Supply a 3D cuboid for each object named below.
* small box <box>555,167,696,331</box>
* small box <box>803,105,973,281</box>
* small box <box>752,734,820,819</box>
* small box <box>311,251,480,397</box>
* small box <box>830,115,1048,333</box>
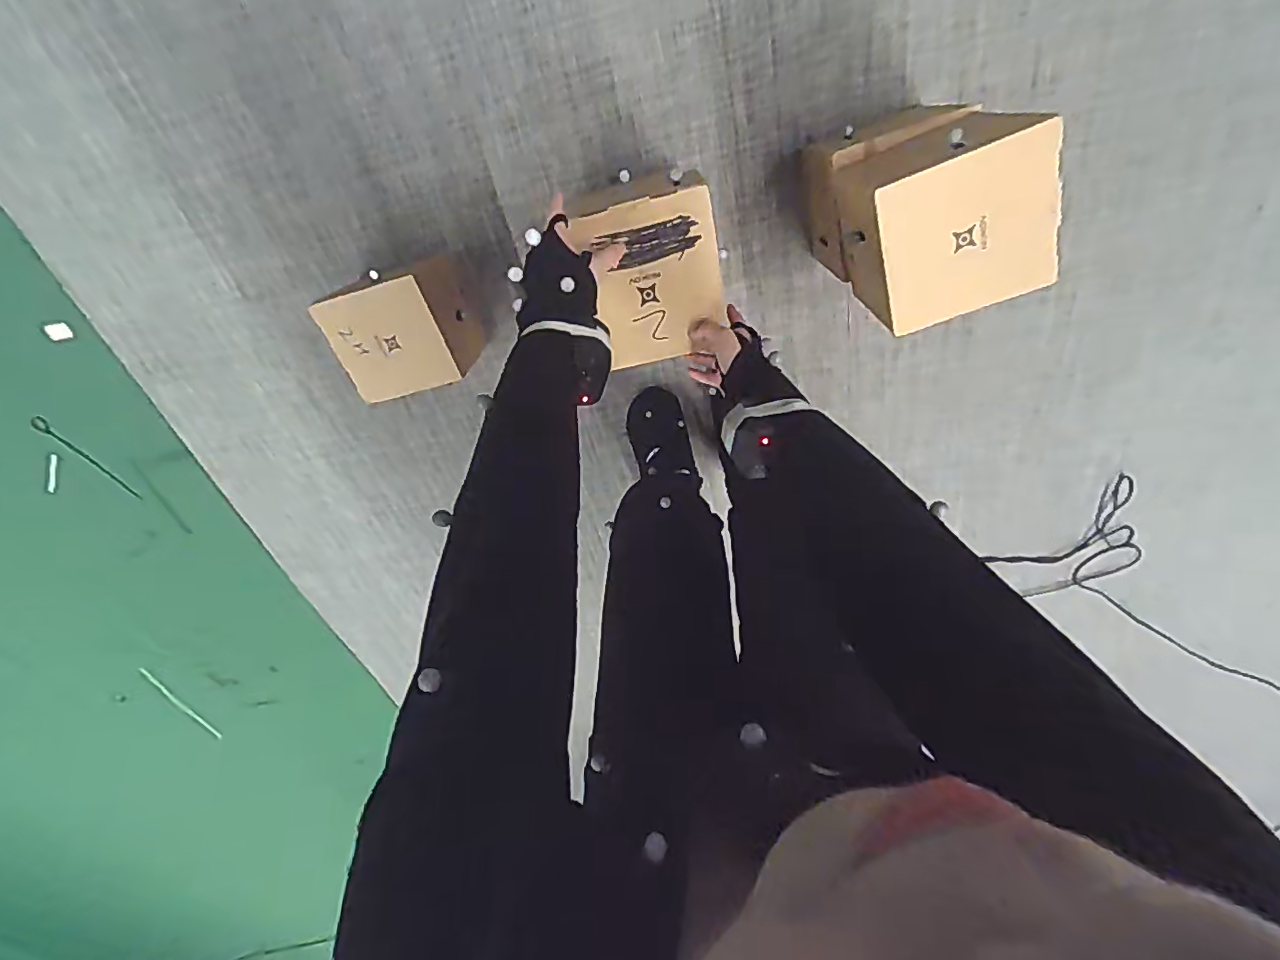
[{"bbox_3d":[-0.012,-0.350,0.813,0.168,0.176,0.179,-11,122,9],"label":"small box"},{"bbox_3d":[0.336,-0.403,0.762,0.179,0.176,0.168,-13,123,10],"label":"small box"},{"bbox_3d":[0.436,0.885,1.625,0.168,0.176,0.179,-10,122,11],"label":"small box"},{"bbox_3d":[-0.382,-0.261,0.890,0.179,0.176,0.168,-11,122,10],"label":"small box"},{"bbox_3d":[0.336,-0.301,0.636,0.179,0.176,0.168,-18,122,13],"label":"small box"}]
